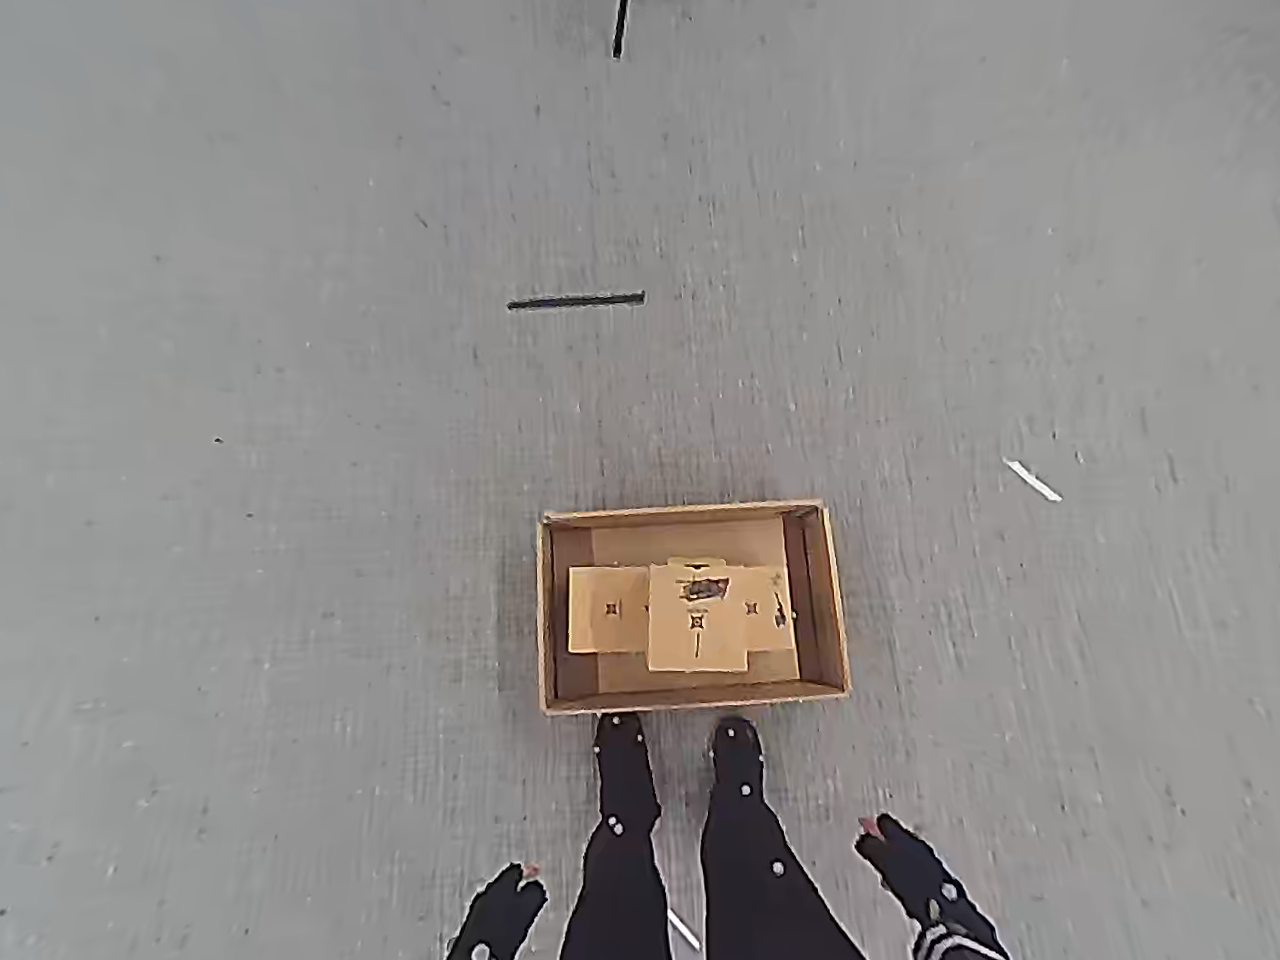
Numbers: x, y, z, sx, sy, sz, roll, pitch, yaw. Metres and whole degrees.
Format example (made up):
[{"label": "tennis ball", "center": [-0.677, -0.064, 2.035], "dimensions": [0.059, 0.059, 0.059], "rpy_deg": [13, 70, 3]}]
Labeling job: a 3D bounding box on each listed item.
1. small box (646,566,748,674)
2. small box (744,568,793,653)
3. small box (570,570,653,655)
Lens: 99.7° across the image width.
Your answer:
[{"label": "small box", "center": [0.097, 0.253, 0.989], "dimensions": [0.168, 0.176, 0.179], "rpy_deg": [1, 78, -1]}, {"label": "small box", "center": [0.214, 0.278, 1.155], "dimensions": [0.179, 0.176, 0.168], "rpy_deg": [-3, 78, 1]}, {"label": "small box", "center": [-0.053, 0.278, 1.148], "dimensions": [0.179, 0.176, 0.168], "rpy_deg": [0, 77, -1]}]
